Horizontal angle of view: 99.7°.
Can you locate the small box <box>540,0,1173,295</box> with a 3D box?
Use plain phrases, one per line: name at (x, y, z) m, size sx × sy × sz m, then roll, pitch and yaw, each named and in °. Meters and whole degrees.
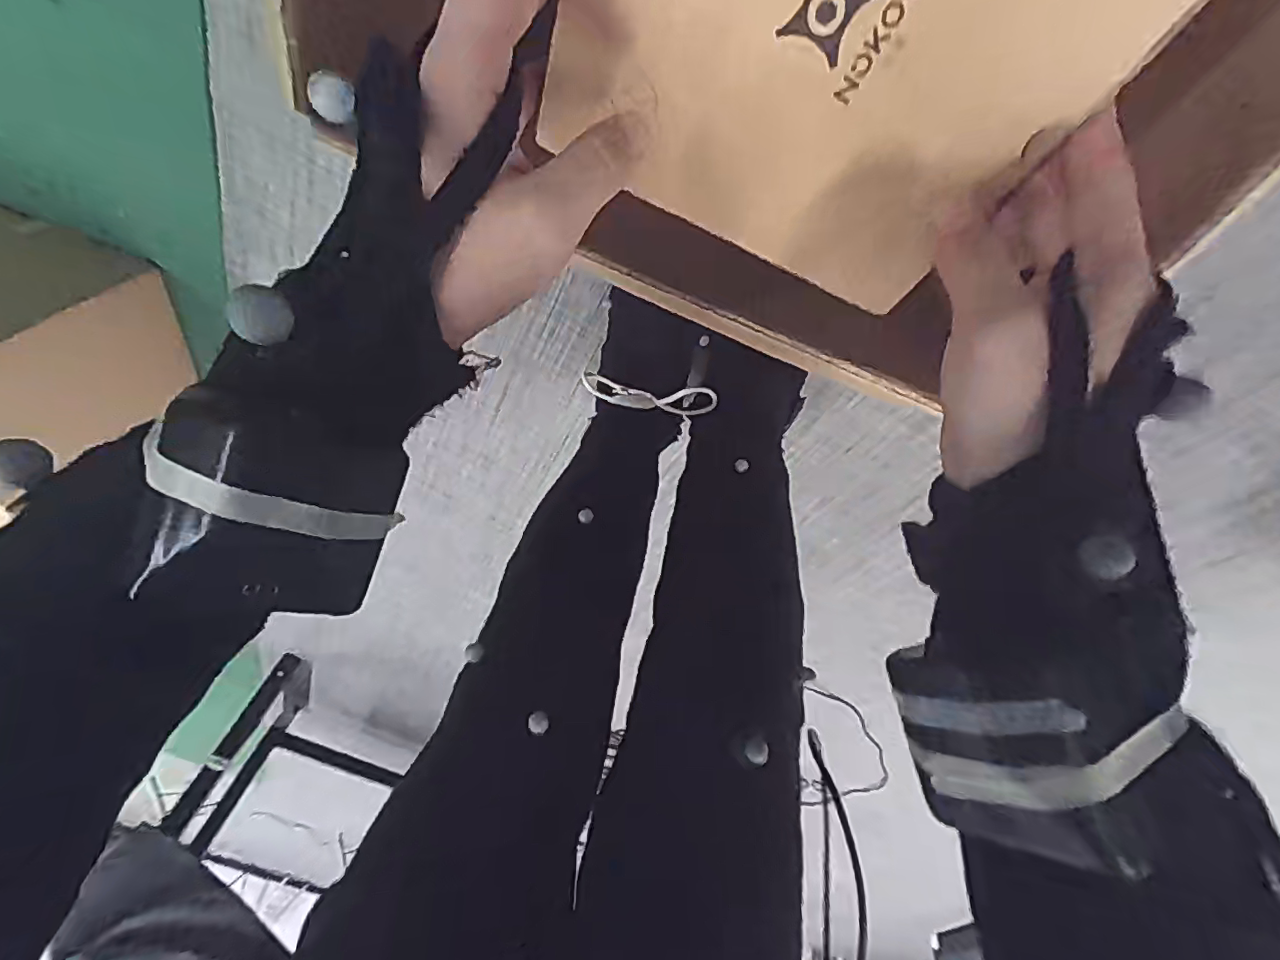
small box at (0.081, -0.218, 0.216) m, size 0.179 × 0.176 × 0.168 m, roll 21°, pitch 147°, yaw -10°
